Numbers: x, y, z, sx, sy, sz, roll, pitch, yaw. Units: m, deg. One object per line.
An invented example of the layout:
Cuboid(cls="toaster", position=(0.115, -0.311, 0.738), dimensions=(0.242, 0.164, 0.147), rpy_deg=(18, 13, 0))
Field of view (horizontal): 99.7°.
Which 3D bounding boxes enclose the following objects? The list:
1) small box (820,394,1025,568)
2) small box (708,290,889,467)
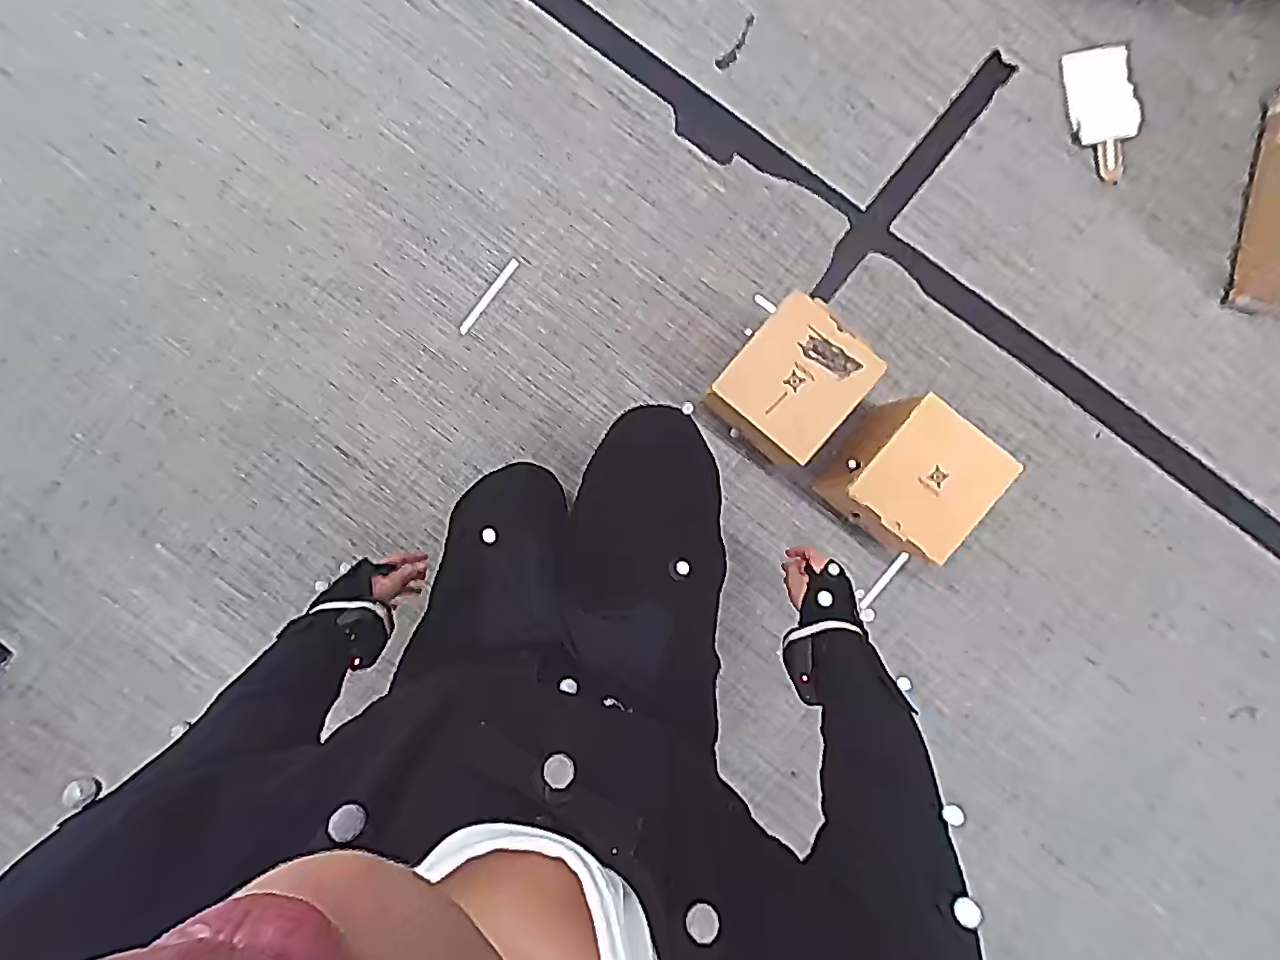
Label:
Cuboid(cls="small box", position=(0.397, -0.002, 0.798), dimensions=(0.168, 0.176, 0.179), rpy_deg=(38, 93, -1))
Cuboid(cls="small box", position=(0.216, -0.138, 0.794), dimensions=(0.168, 0.176, 0.179), rpy_deg=(40, 94, 0))
